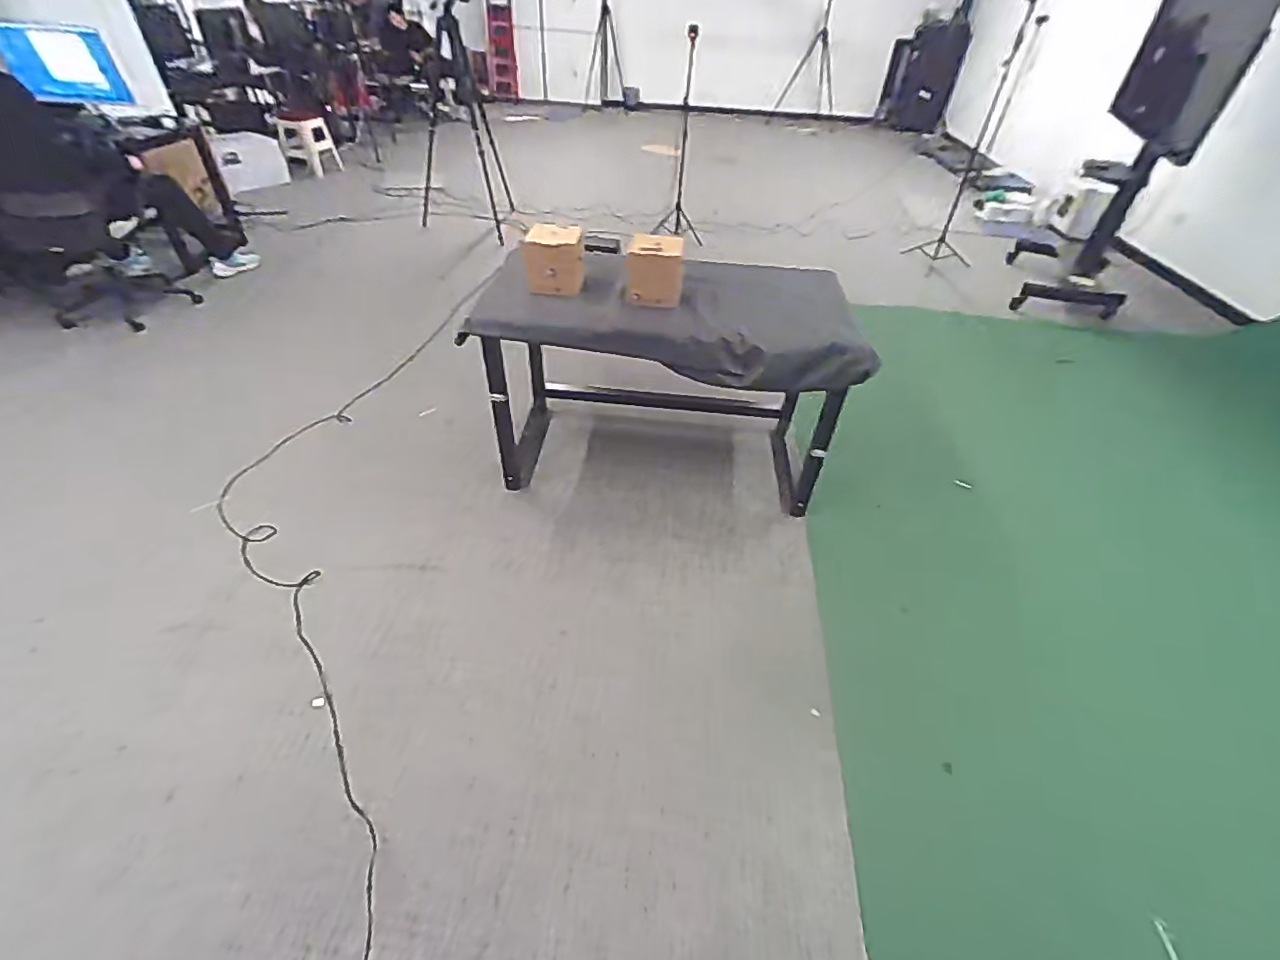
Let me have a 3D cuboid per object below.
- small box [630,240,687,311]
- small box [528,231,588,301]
[{"bbox_3d":[0.060,-0.665,1.763,0.168,0.176,0.179,6,41,4],"label":"small box"},{"bbox_3d":[-0.266,-0.711,1.798,0.168,0.176,0.179,4,43,2],"label":"small box"}]
